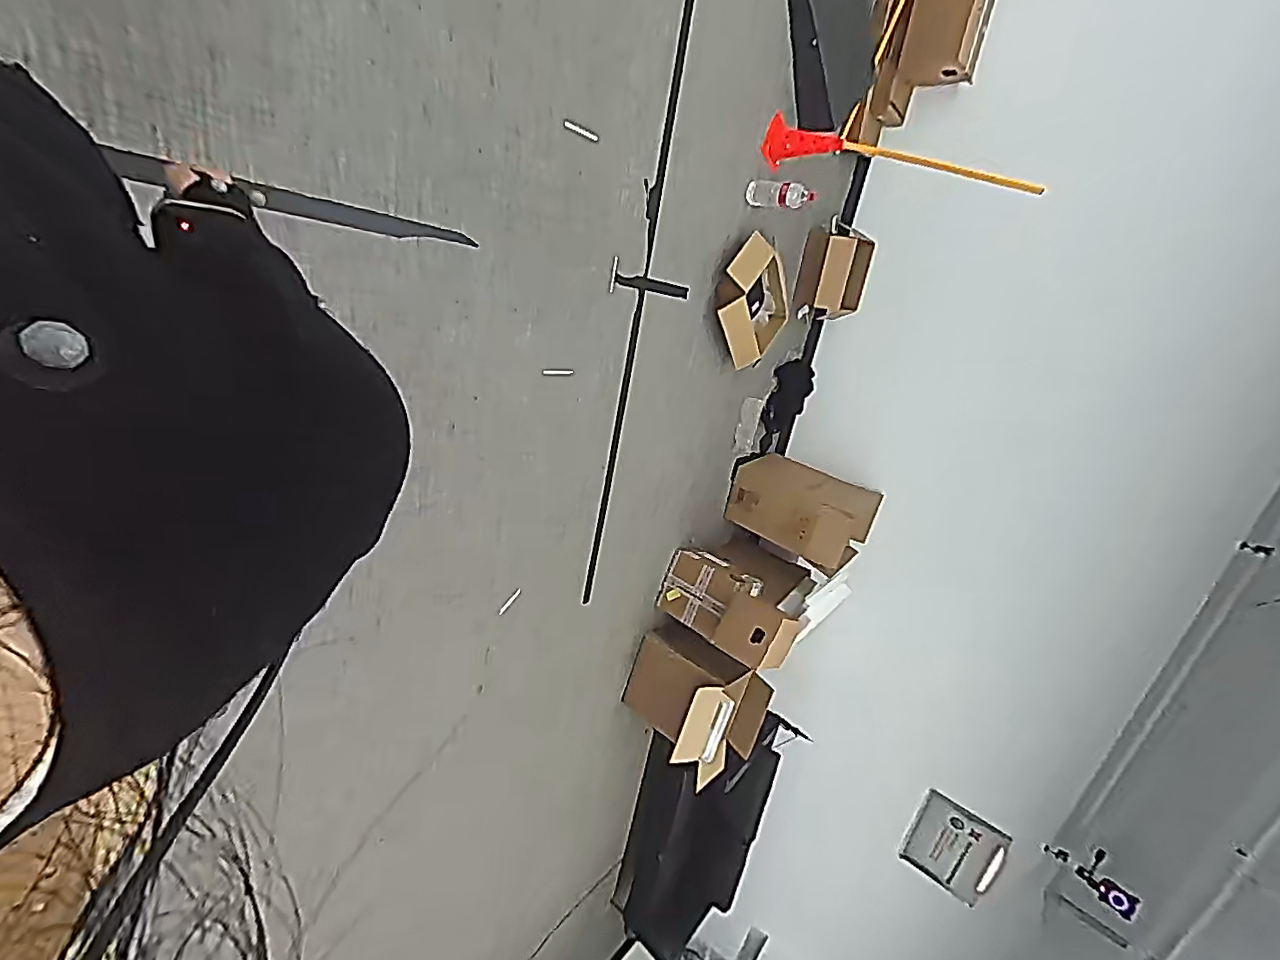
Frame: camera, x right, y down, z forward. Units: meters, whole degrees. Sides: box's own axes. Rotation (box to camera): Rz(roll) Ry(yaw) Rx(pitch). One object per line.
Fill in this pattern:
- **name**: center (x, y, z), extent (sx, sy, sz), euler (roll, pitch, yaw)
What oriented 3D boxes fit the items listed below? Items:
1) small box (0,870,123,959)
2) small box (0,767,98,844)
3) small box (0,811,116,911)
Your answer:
- **small box**: center (-1.122, 0.905, 1.030), extent (0.168, 0.176, 0.179), euler (-21, 126, -47)
- **small box**: center (-1.365, 0.785, 1.216), extent (0.168, 0.176, 0.179), euler (-19, 126, -48)
- **small box**: center (-1.241, 0.846, 1.128), extent (0.168, 0.176, 0.179), euler (-21, 128, -47)
